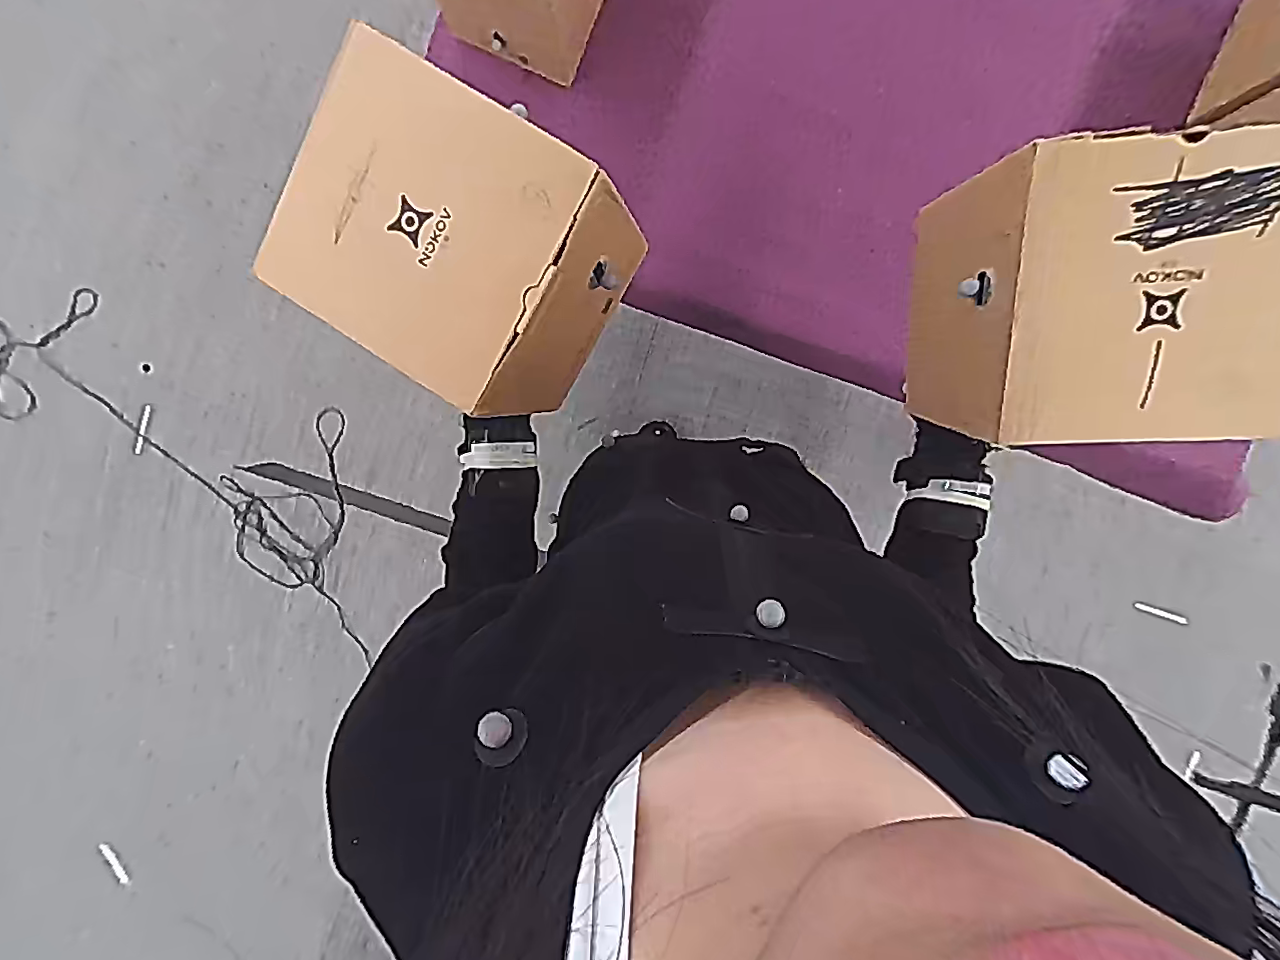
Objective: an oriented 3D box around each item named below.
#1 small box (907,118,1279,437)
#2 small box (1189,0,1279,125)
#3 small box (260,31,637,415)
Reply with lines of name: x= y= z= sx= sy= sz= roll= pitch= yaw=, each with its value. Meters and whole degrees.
small box: x=0.313 y=-0.132 z=0.396 sx=0.168 sy=0.176 sz=0.179 roll=-1 pitch=105 yaw=7
small box: x=0.811 y=-0.502 z=0.622 sx=0.168 sy=0.176 sz=0.179 roll=22 pitch=95 yaw=-3
small box: x=-0.120 y=-0.165 z=0.406 sx=0.179 sy=0.176 sz=0.168 roll=32 pitch=101 yaw=4
